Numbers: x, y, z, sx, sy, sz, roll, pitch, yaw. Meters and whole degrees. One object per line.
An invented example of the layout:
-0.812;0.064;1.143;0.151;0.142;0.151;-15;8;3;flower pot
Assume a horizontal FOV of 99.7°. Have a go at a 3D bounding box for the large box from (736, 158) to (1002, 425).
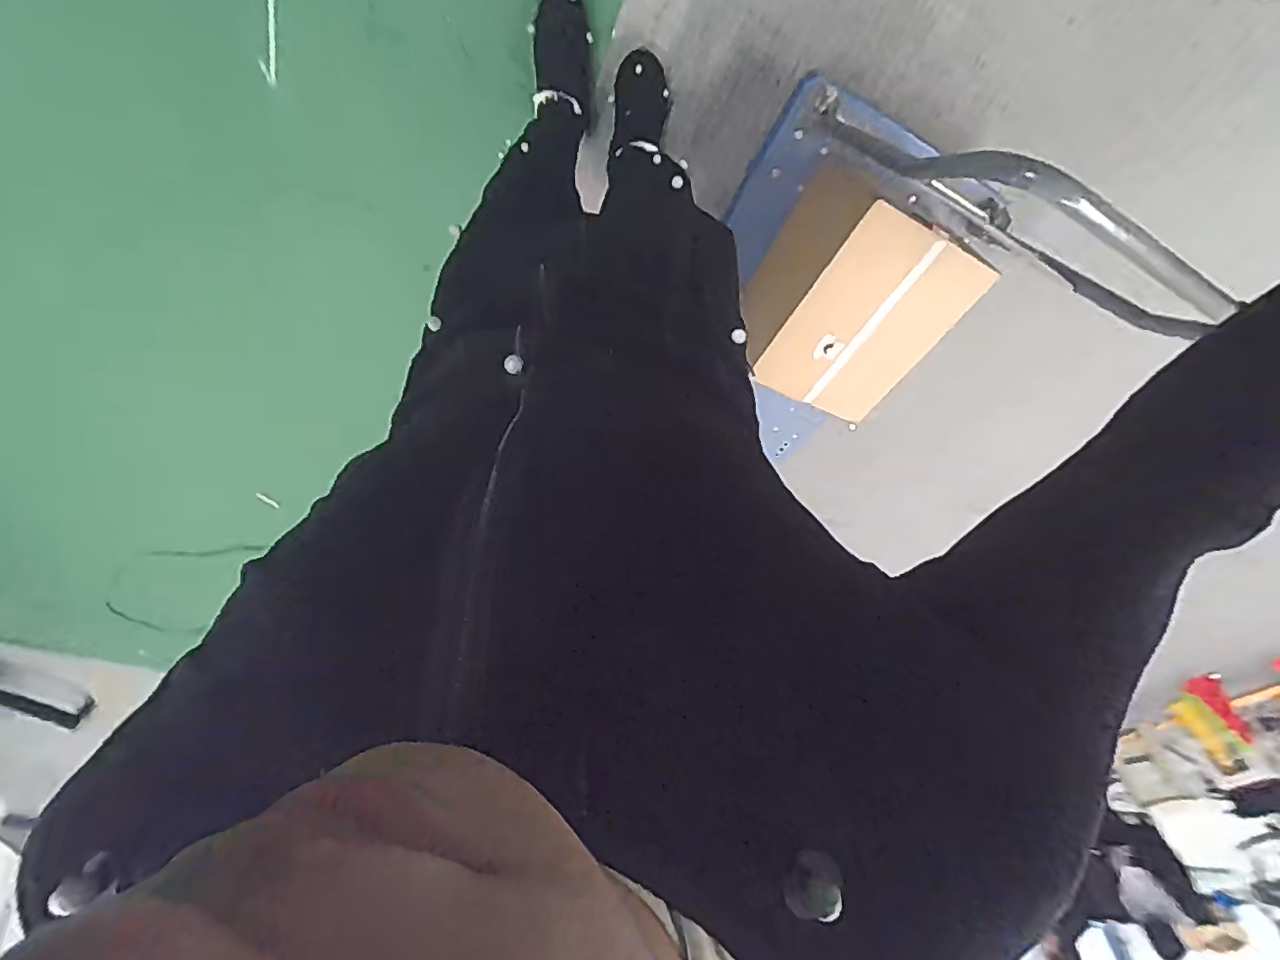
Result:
0.464;-0.405;1.196;0.320;0.320;0.408;20;131;-18;large box
